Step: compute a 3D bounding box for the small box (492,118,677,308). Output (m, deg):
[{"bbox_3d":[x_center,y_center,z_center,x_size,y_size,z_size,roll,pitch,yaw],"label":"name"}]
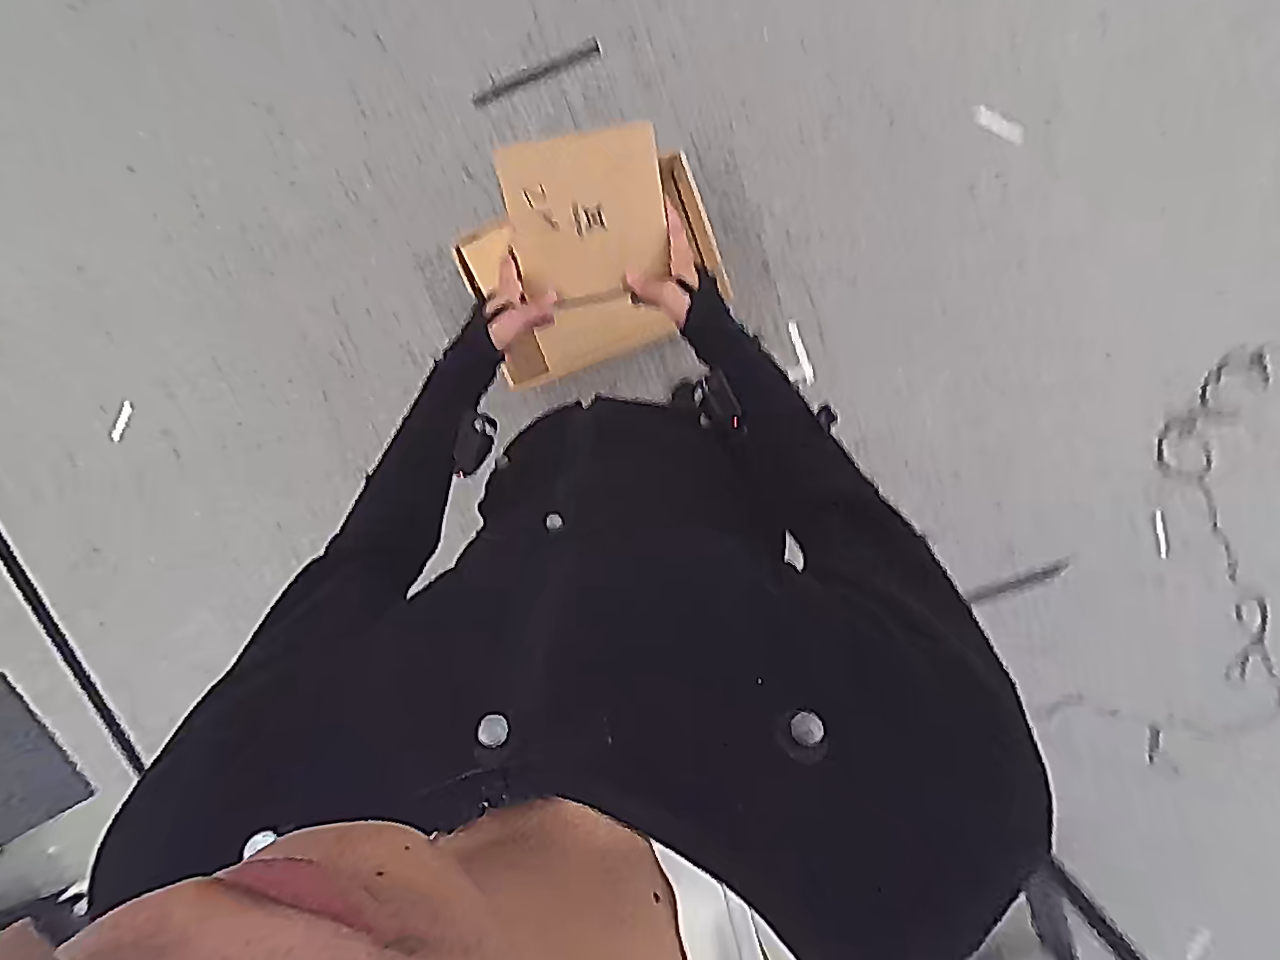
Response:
[{"bbox_3d":[-0.060,-0.310,0.660,0.179,0.176,0.168,-10,108,2],"label":"small box"}]
